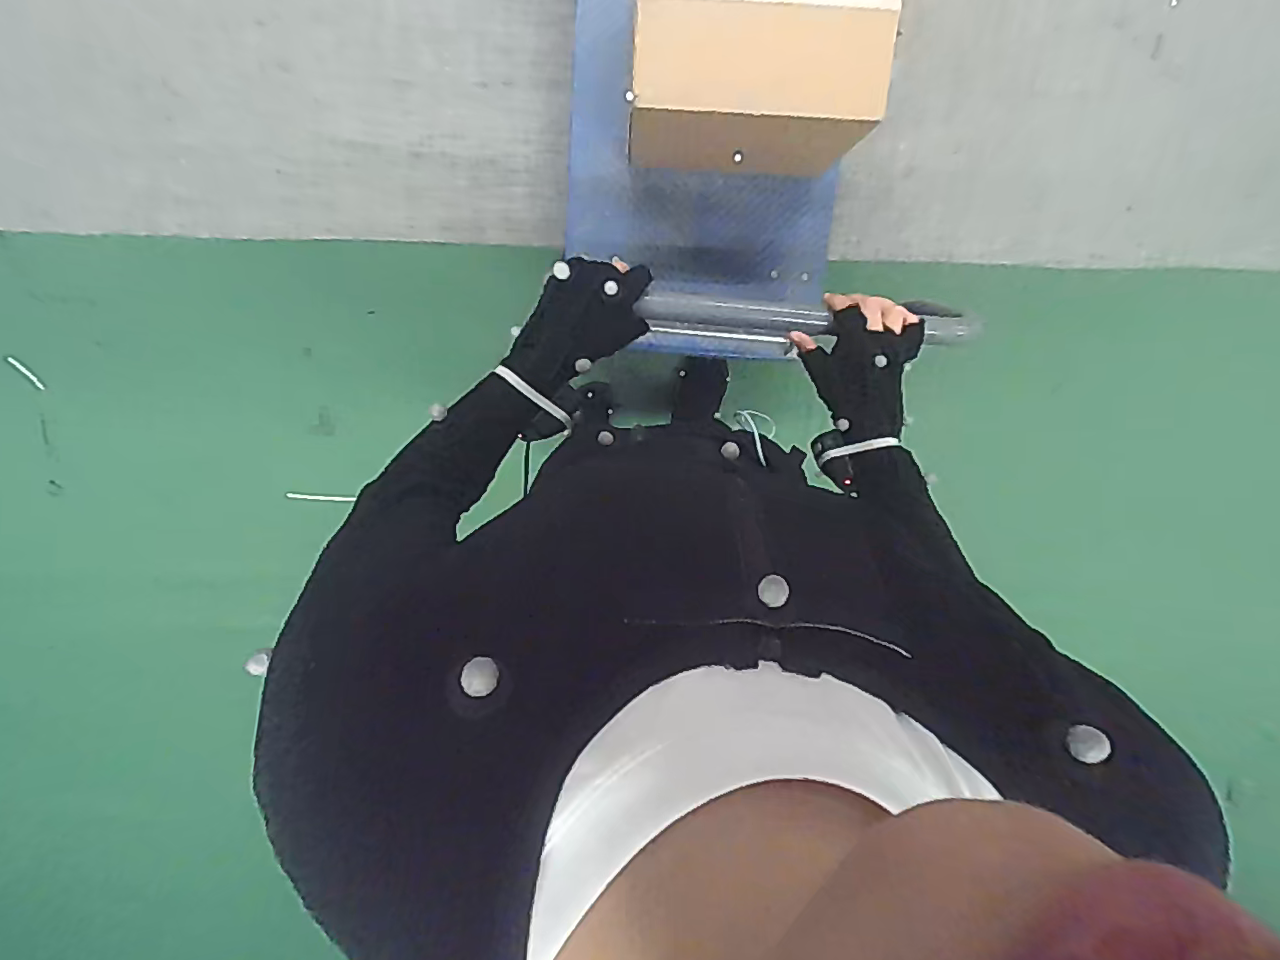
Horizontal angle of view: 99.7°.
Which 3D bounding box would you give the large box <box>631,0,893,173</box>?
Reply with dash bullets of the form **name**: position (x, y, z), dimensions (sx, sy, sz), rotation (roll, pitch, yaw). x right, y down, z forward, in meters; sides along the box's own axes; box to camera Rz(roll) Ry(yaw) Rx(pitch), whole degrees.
- **large box**: position (0.190, -0.767, 0.970), dimensions (0.408, 0.320, 0.320), rotation (2, 103, -2)
